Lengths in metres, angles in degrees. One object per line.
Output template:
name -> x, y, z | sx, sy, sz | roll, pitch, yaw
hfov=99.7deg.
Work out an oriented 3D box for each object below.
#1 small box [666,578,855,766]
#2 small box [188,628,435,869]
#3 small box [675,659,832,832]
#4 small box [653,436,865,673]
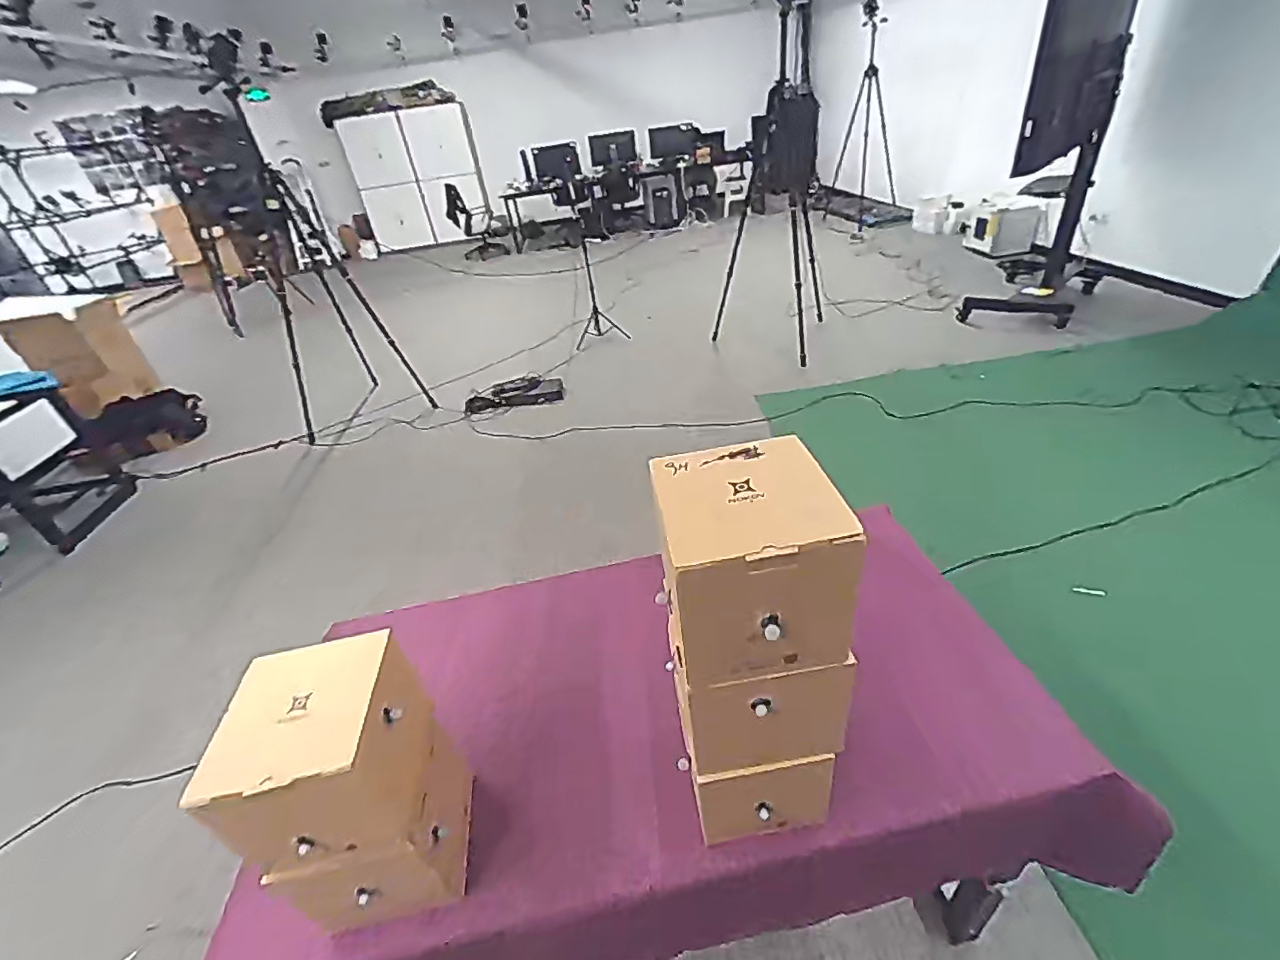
small box -> 0.135, 0.218, 0.650 | 0.179, 0.176, 0.168 | -9, 35, -1
small box -> -0.354, 0.308, 0.630 | 0.168, 0.176, 0.179 | -11, 36, -4
small box -> 0.148, 0.354, 0.742 | 0.168, 0.176, 0.179 | -9, 35, -1
small box -> 0.112, 0.080, 0.563 | 0.168, 0.176, 0.179 | -9, 36, -1
